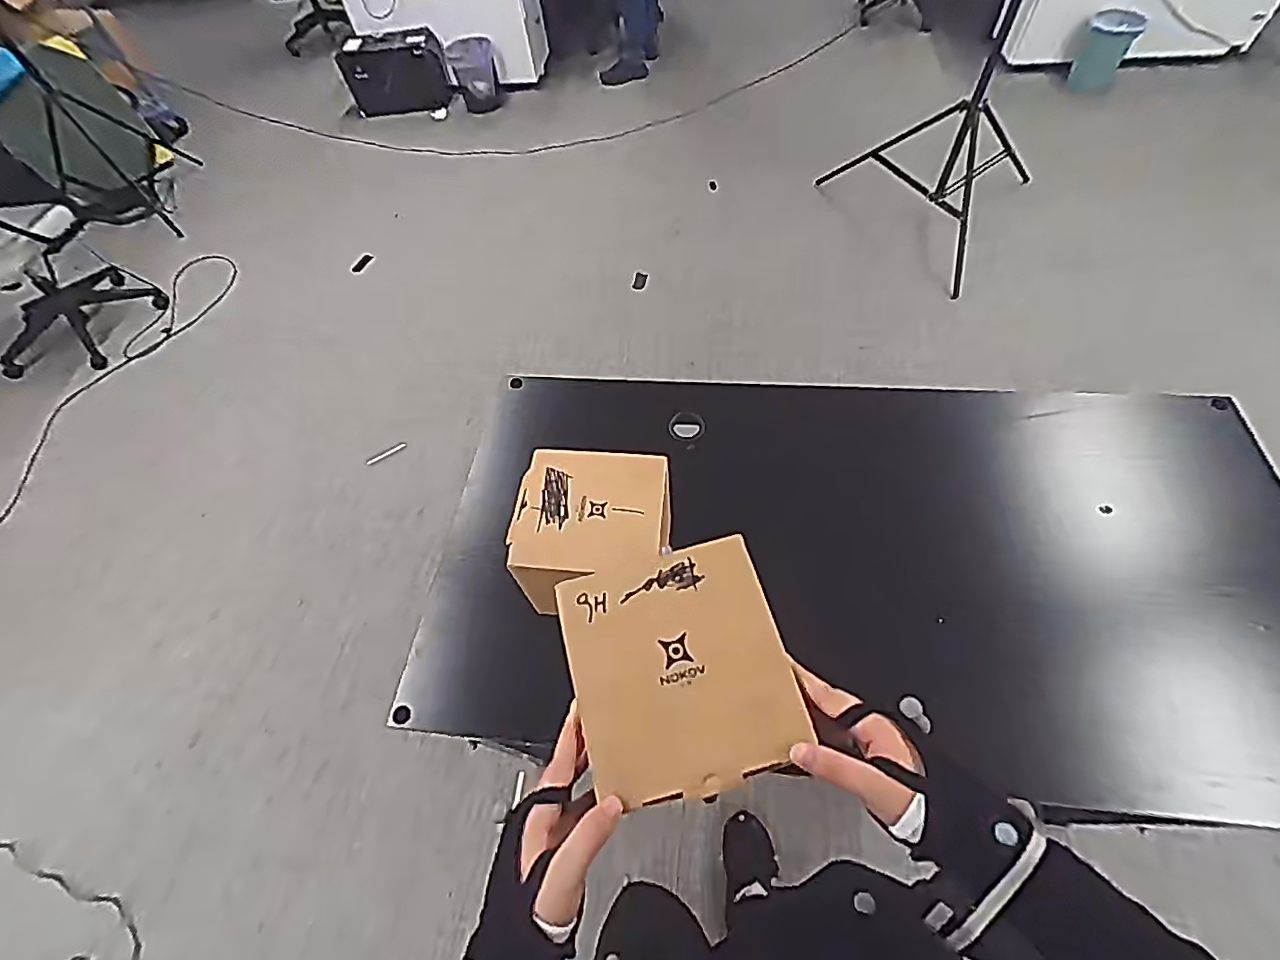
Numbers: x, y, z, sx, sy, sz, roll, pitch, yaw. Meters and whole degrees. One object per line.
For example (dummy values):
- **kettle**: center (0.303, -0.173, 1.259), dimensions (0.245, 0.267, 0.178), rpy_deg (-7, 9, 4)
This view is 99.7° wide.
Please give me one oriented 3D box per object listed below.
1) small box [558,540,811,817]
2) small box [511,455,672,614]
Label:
- **small box**: center (0.034, 0.179, 0.499), dimensions (0.168, 0.176, 0.179), rpy_deg (-15, 66, -4)
- **small box**: center (-0.051, 0.082, 0.729), dimensions (0.179, 0.176, 0.168), rpy_deg (3, 58, 6)
